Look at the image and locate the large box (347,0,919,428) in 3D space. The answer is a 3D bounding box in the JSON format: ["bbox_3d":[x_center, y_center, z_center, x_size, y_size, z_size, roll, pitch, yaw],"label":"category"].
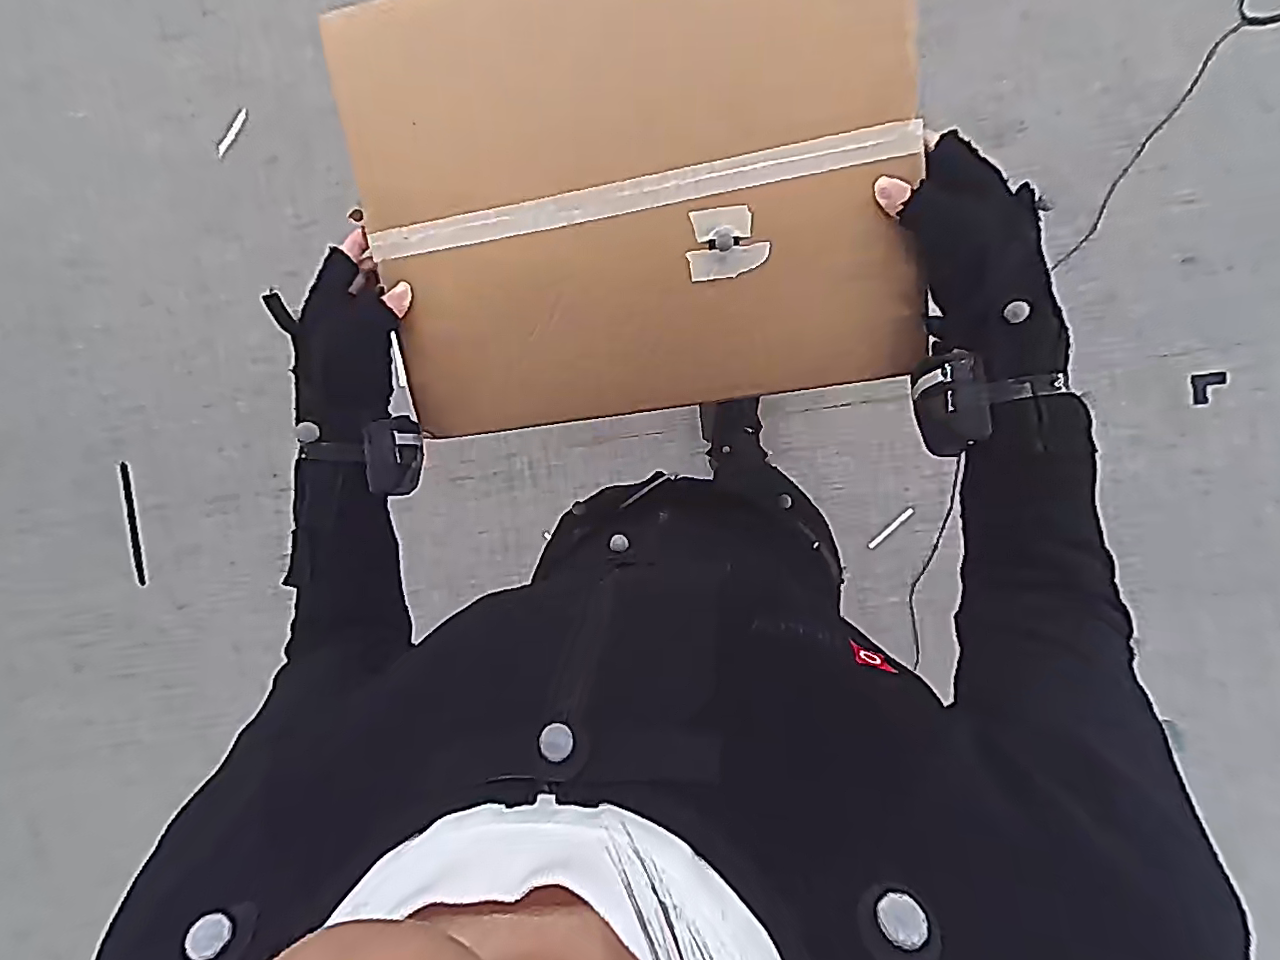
[{"bbox_3d":[0.011,-0.254,0.552,0.408,0.320,0.320,-7,104,9],"label":"large box"}]
